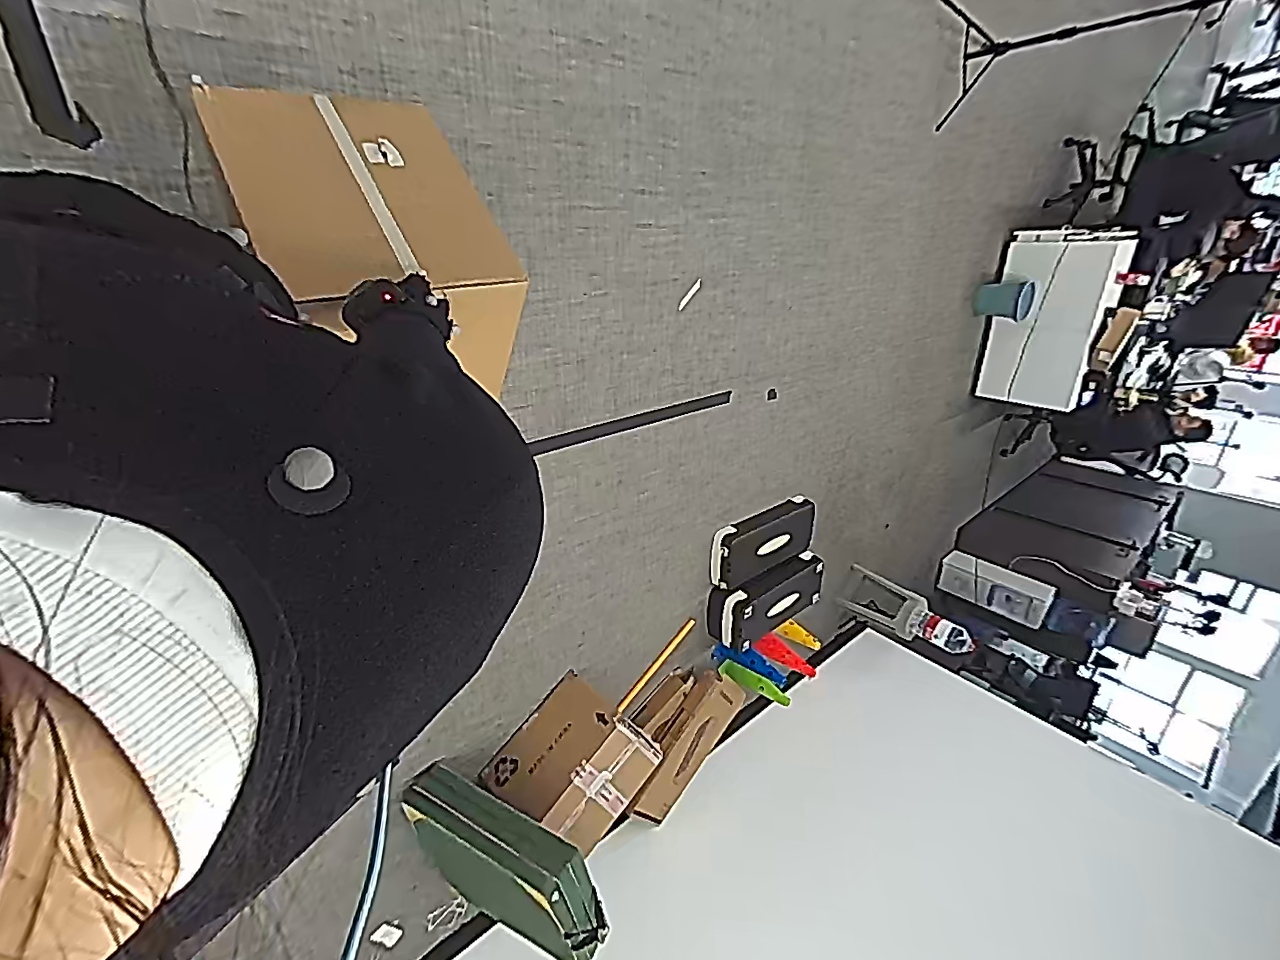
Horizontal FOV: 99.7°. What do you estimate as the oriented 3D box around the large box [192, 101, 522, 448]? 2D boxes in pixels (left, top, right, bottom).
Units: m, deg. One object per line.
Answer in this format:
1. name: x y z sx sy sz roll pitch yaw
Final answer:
1. large box: -0.440 -0.324 0.877 0.320 0.408 0.320 -20 159 -34
